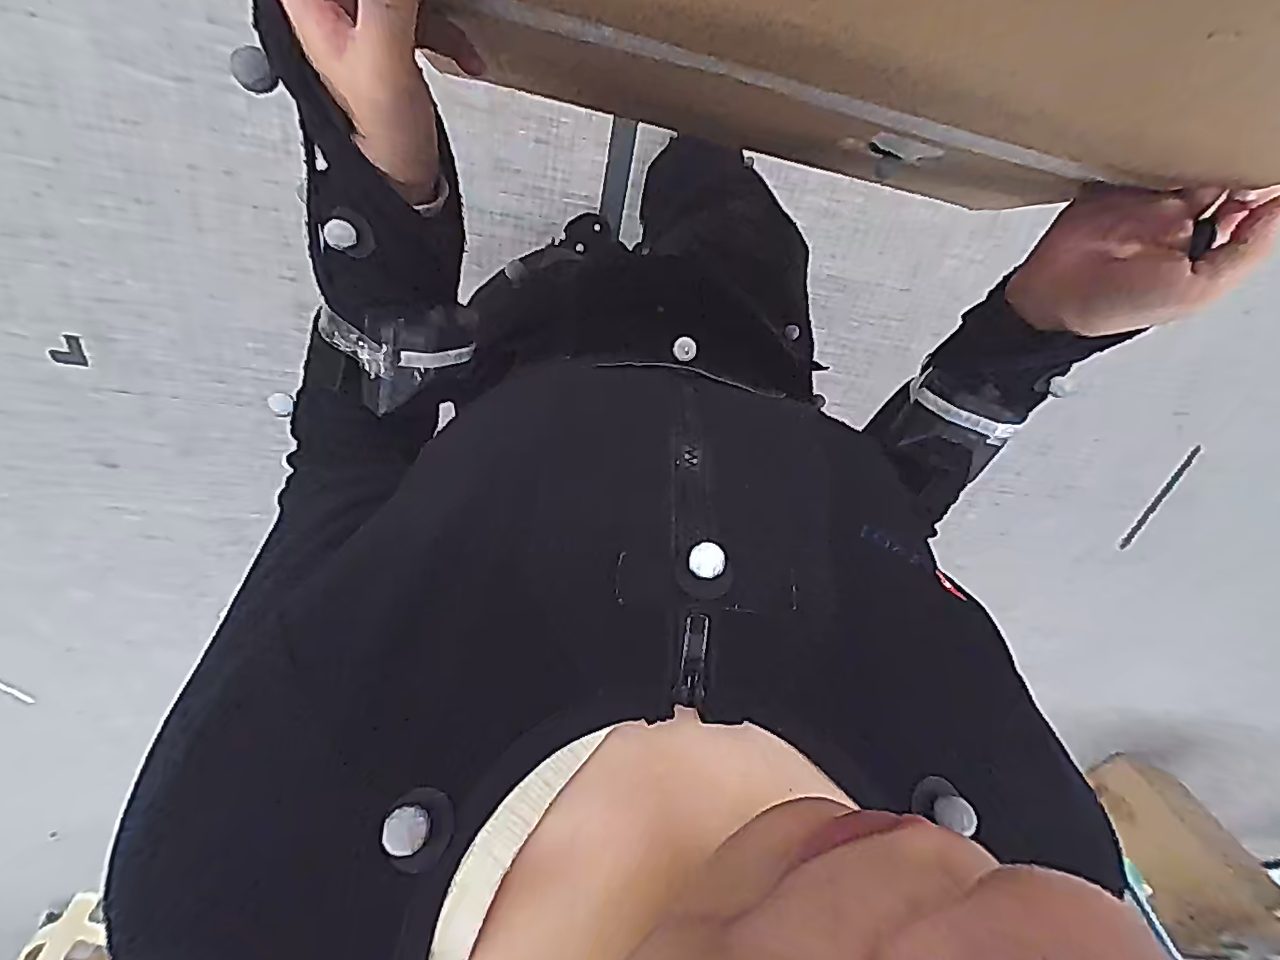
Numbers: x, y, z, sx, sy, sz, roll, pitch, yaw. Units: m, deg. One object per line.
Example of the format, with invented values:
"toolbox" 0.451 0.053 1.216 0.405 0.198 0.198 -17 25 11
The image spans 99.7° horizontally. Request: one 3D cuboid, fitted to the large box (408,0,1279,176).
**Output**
"large box" 0.109 -0.328 0.175 0.408 0.320 0.320 7 114 -10
